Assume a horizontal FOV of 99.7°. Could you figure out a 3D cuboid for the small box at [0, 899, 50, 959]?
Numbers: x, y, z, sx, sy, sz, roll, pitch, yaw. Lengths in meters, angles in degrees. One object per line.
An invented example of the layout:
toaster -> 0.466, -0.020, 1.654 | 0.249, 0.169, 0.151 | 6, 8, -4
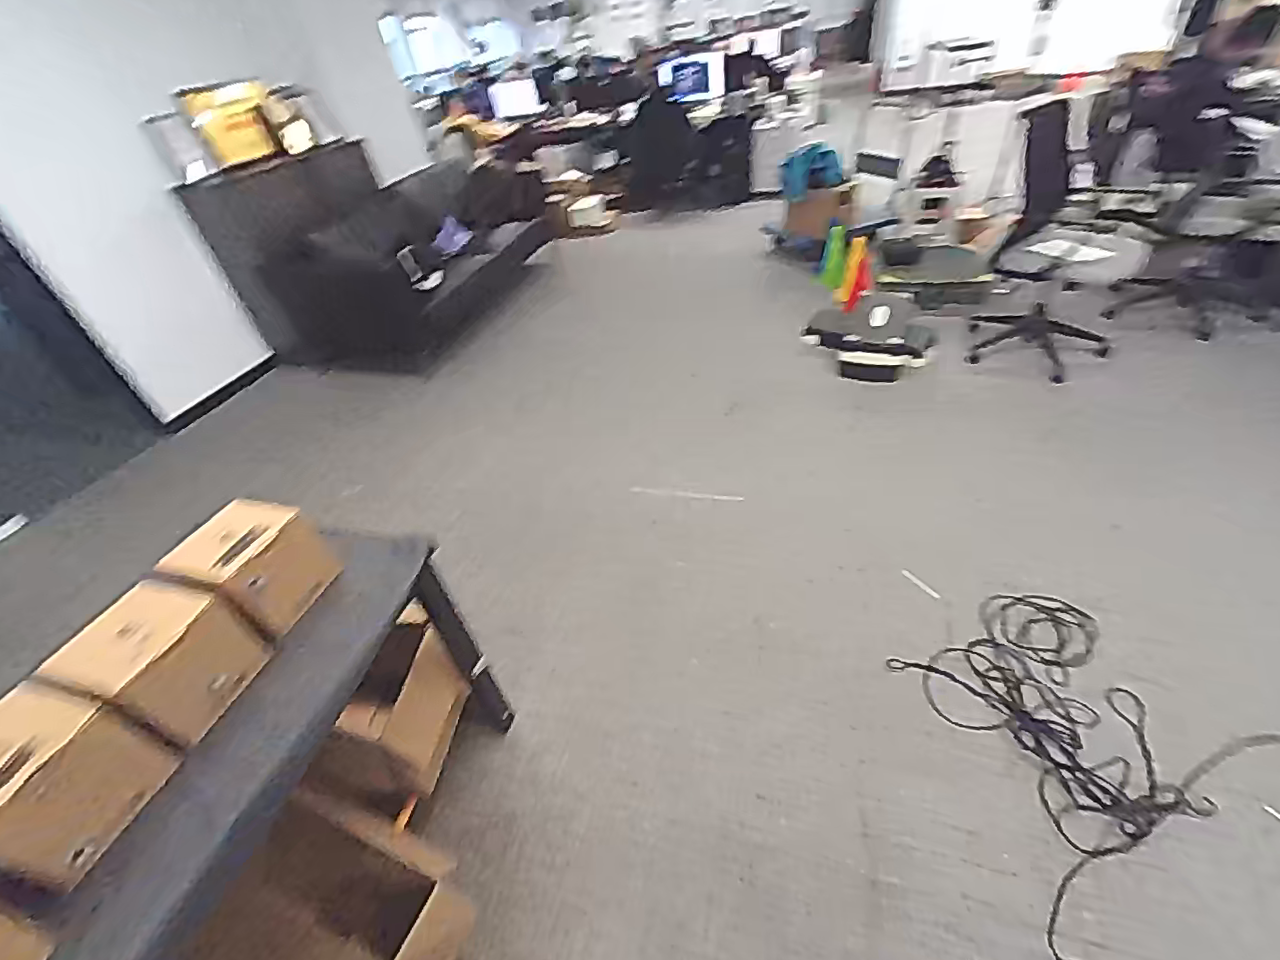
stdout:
small box -> -0.829, 0.552, 0.585 | 0.179, 0.176, 0.168 | 11, 43, 22
